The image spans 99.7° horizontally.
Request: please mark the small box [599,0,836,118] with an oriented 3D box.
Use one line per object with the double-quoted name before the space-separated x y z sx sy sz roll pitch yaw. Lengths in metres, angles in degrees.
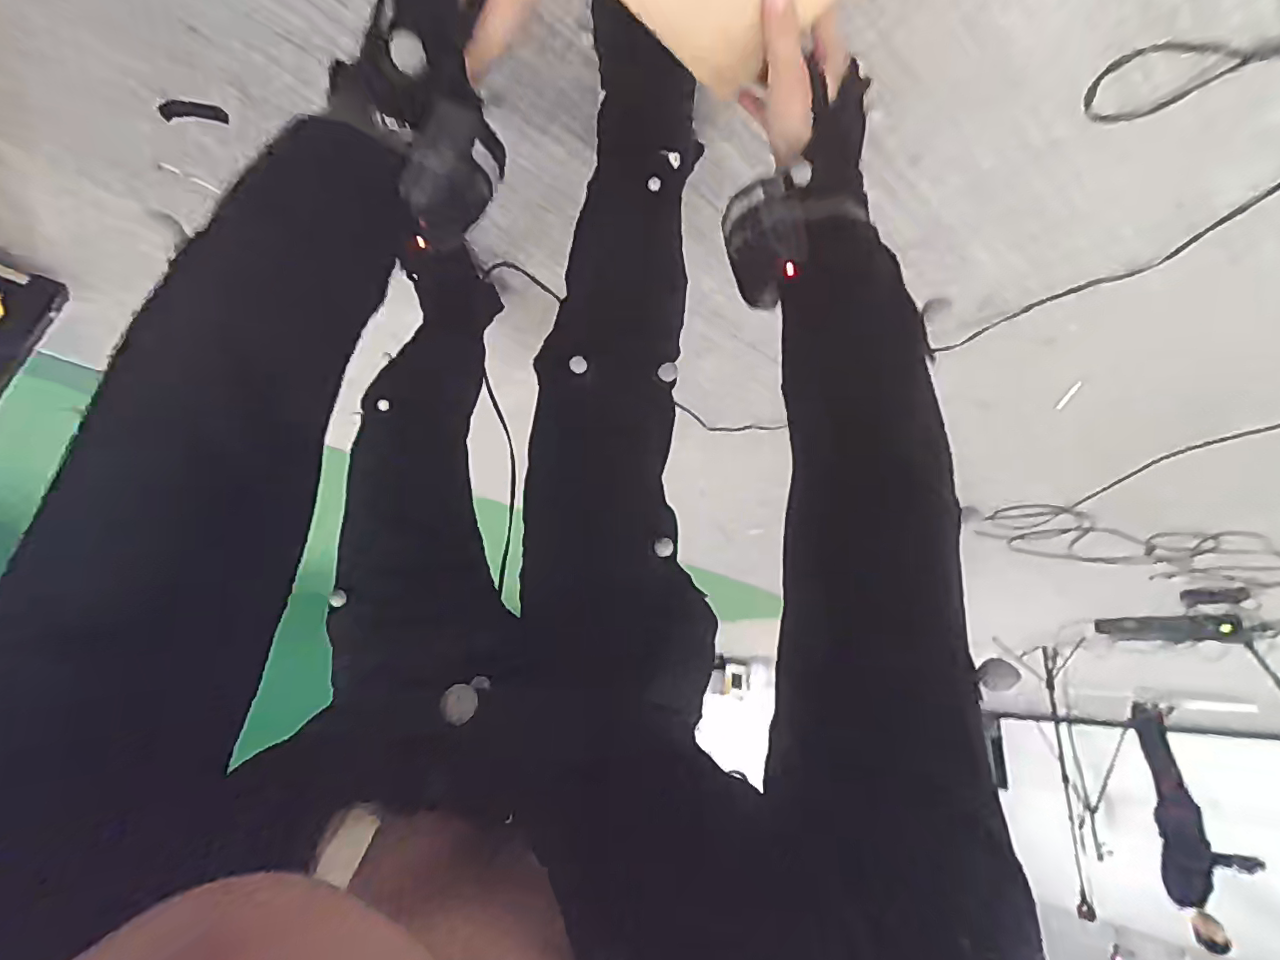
"small box" 0.041 -0.374 0.310 0.179 0.176 0.168 19 144 -37
